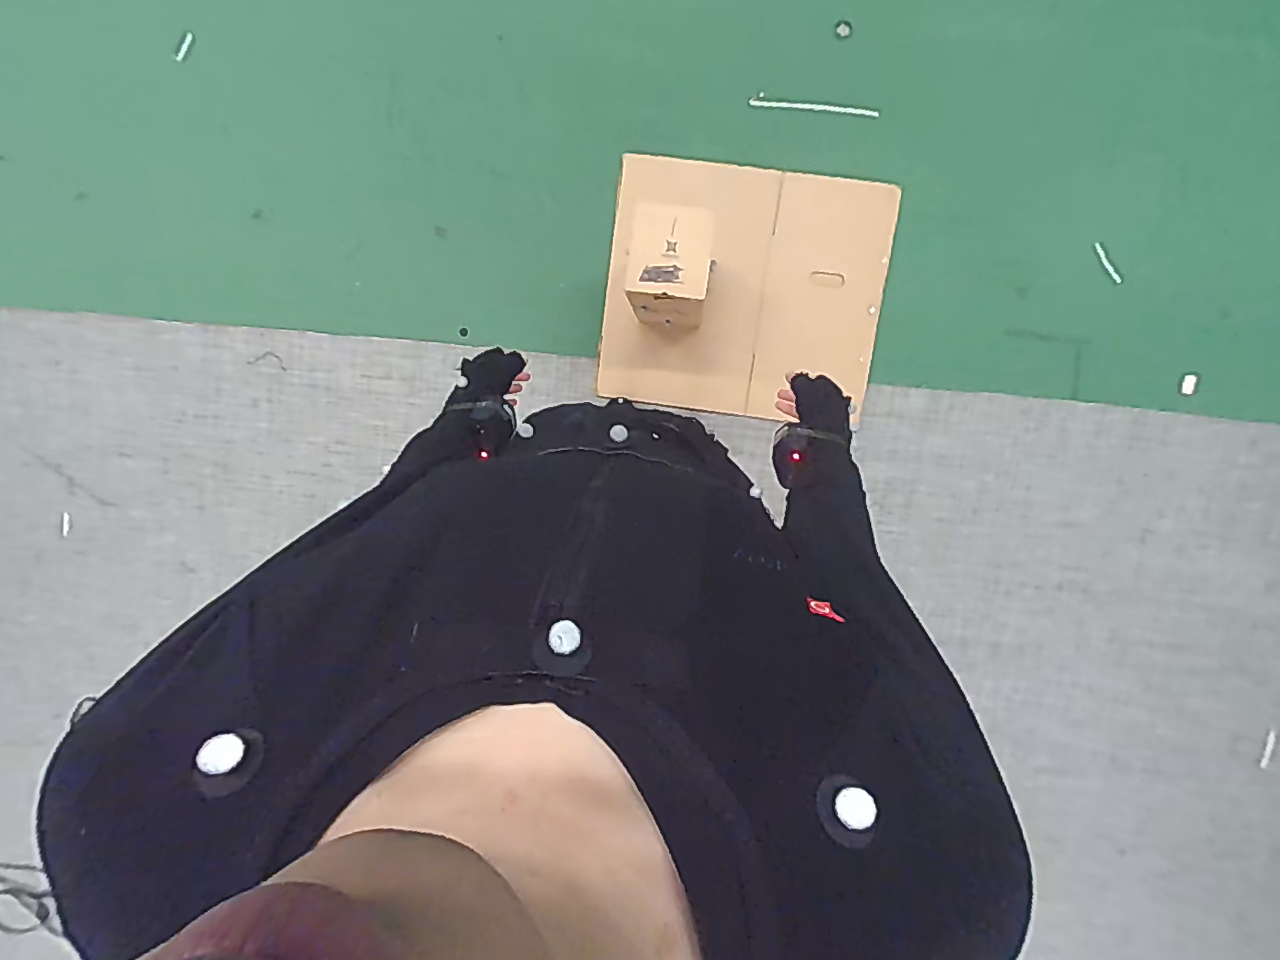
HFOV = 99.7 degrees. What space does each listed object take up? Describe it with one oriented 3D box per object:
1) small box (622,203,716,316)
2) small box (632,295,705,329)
[{"bbox_3d":[0.063,-0.455,1.141,0.168,0.176,0.179,8,97,3],"label":"small box"},{"bbox_3d":[0.075,-0.474,1.304,0.168,0.176,0.179,7,98,4],"label":"small box"}]
